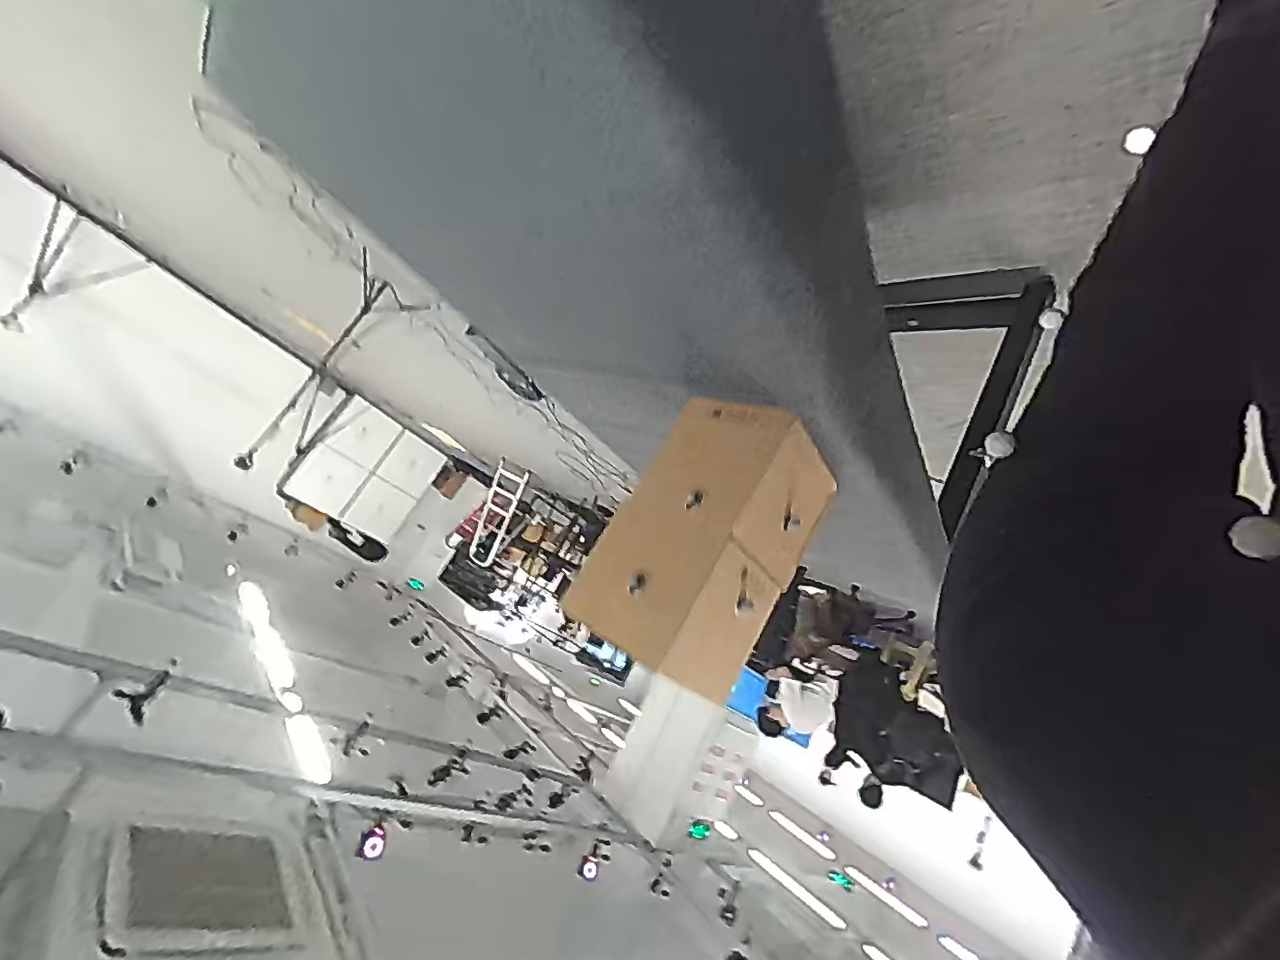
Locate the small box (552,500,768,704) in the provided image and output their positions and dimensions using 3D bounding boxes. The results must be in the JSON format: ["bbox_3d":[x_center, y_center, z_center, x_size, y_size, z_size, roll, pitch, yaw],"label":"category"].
[{"bbox_3d":[0.030,0.145,0.685,0.179,0.176,0.168,19,160,43],"label":"small box"}]

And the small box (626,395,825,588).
[{"bbox_3d":[0.121,0.013,0.722,0.168,0.176,0.179,18,161,44],"label":"small box"}]
